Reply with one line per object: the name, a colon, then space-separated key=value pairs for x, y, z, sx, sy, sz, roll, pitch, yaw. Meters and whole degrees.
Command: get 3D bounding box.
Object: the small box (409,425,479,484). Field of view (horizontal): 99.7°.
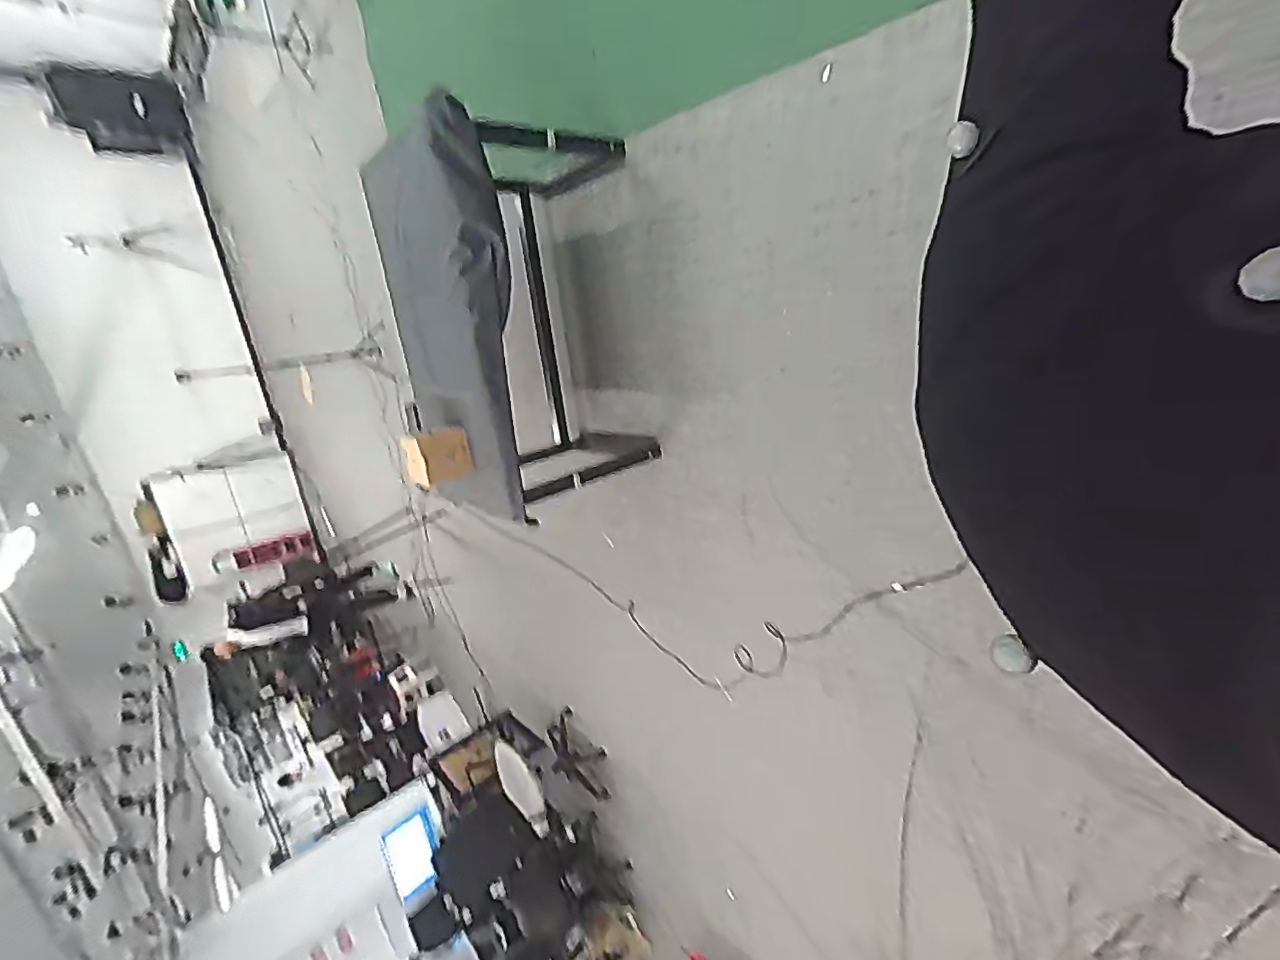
small box: x=-0.683 y=-0.094 z=1.903 sx=0.179 sy=0.176 sz=0.168 roll=10 pitch=113 yaw=47
